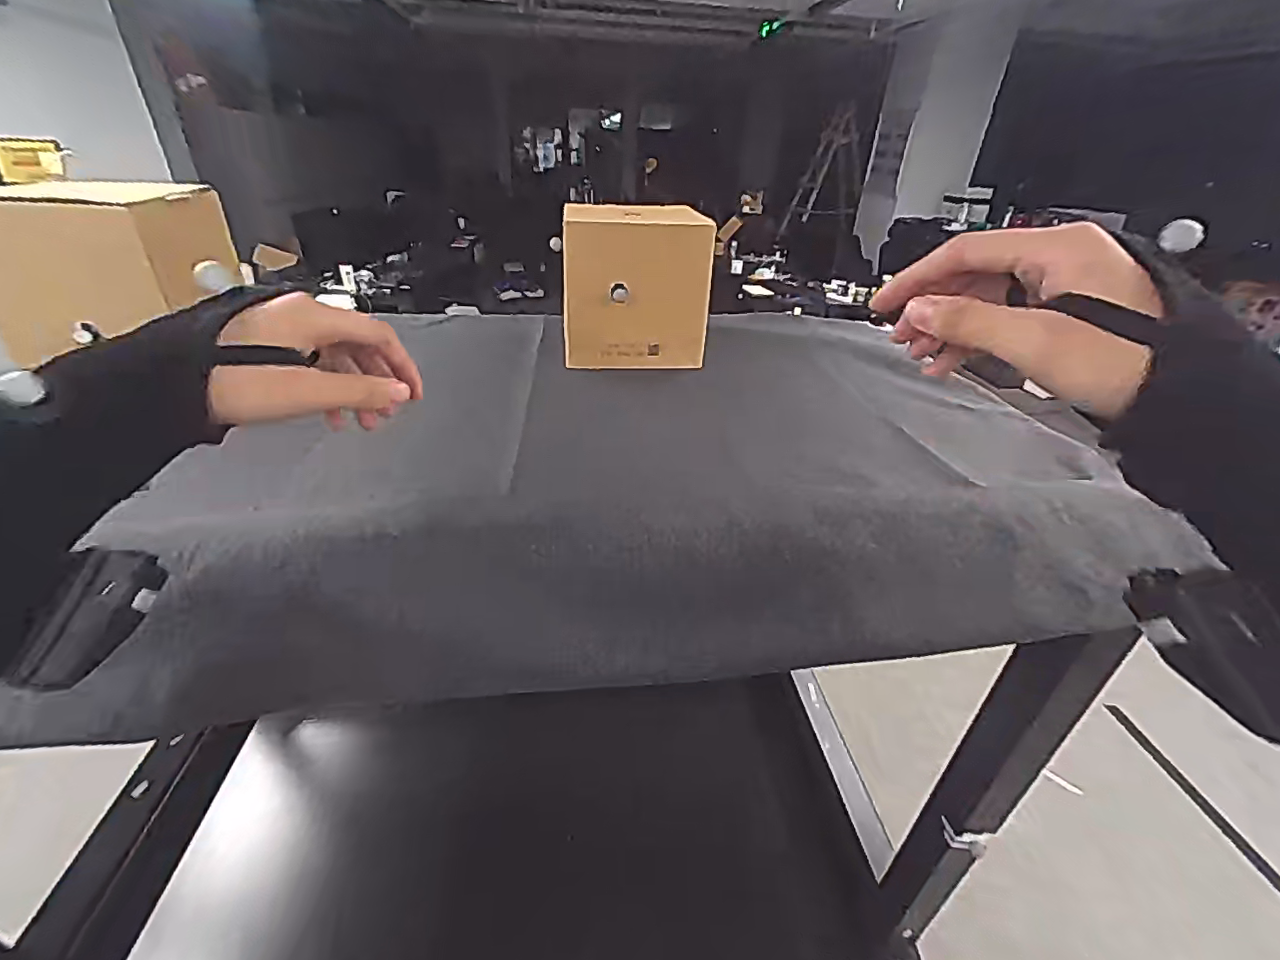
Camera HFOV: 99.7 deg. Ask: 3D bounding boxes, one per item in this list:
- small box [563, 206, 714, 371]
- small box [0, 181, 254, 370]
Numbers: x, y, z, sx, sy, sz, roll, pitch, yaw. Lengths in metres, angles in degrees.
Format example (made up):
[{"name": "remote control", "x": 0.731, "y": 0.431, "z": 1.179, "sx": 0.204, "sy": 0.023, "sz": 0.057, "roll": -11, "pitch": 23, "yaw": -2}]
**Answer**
[{"name": "small box", "x": -0.009, "y": -0.244, "z": 0.684, "sx": 0.168, "sy": 0.176, "sz": 0.179, "roll": -2, "pitch": 32, "yaw": -7}, {"name": "small box", "x": -0.581, "y": -0.230, "z": 0.610, "sx": 0.179, "sy": 0.176, "sz": 0.168, "roll": -1, "pitch": 32, "yaw": -8}]
